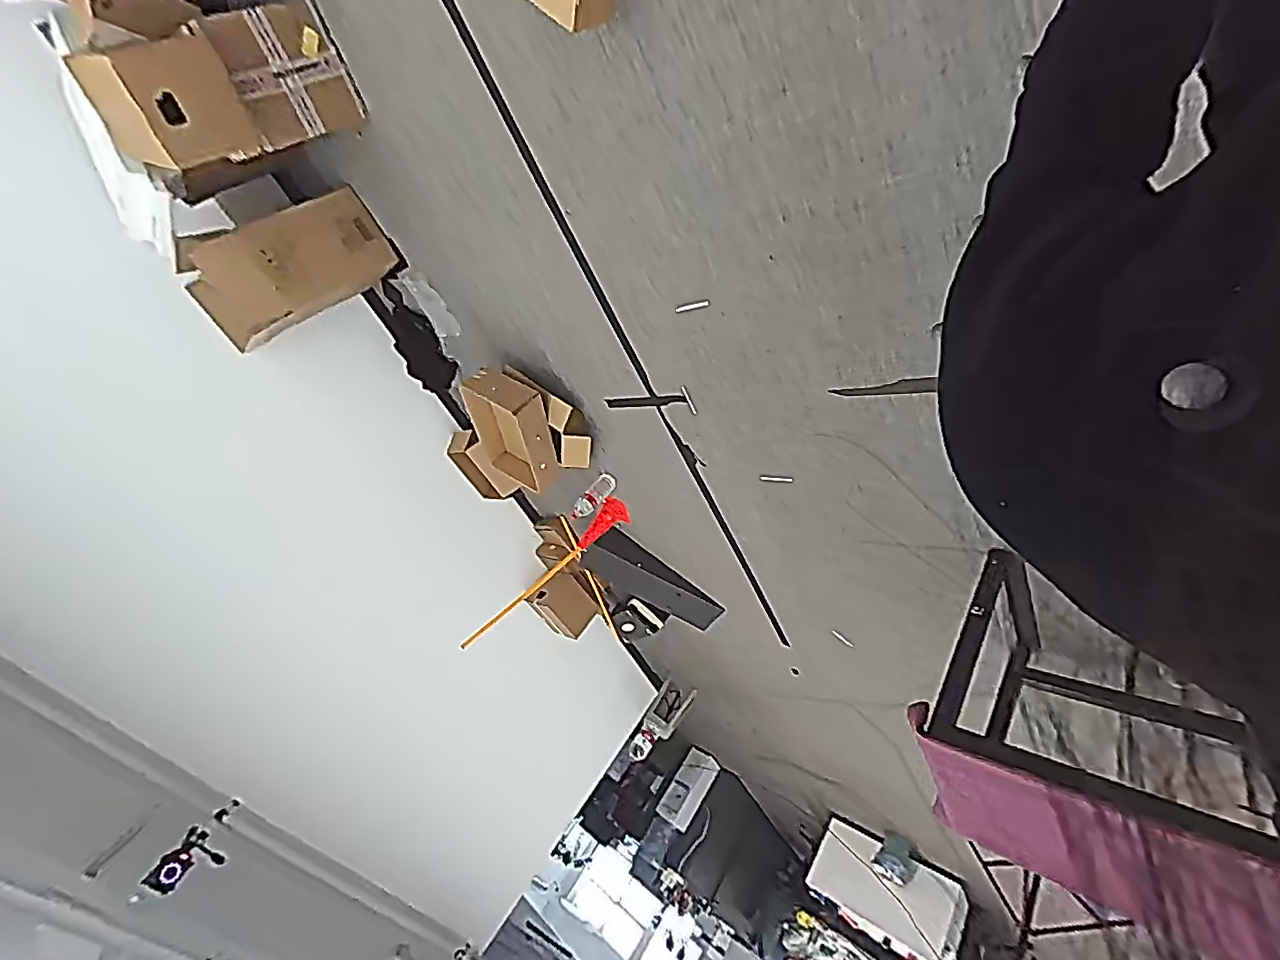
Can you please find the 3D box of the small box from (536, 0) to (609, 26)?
[{"bbox_3d":[-0.169,-1.273,1.324,0.179,0.176,0.168,41,150,5],"label":"small box"}]
